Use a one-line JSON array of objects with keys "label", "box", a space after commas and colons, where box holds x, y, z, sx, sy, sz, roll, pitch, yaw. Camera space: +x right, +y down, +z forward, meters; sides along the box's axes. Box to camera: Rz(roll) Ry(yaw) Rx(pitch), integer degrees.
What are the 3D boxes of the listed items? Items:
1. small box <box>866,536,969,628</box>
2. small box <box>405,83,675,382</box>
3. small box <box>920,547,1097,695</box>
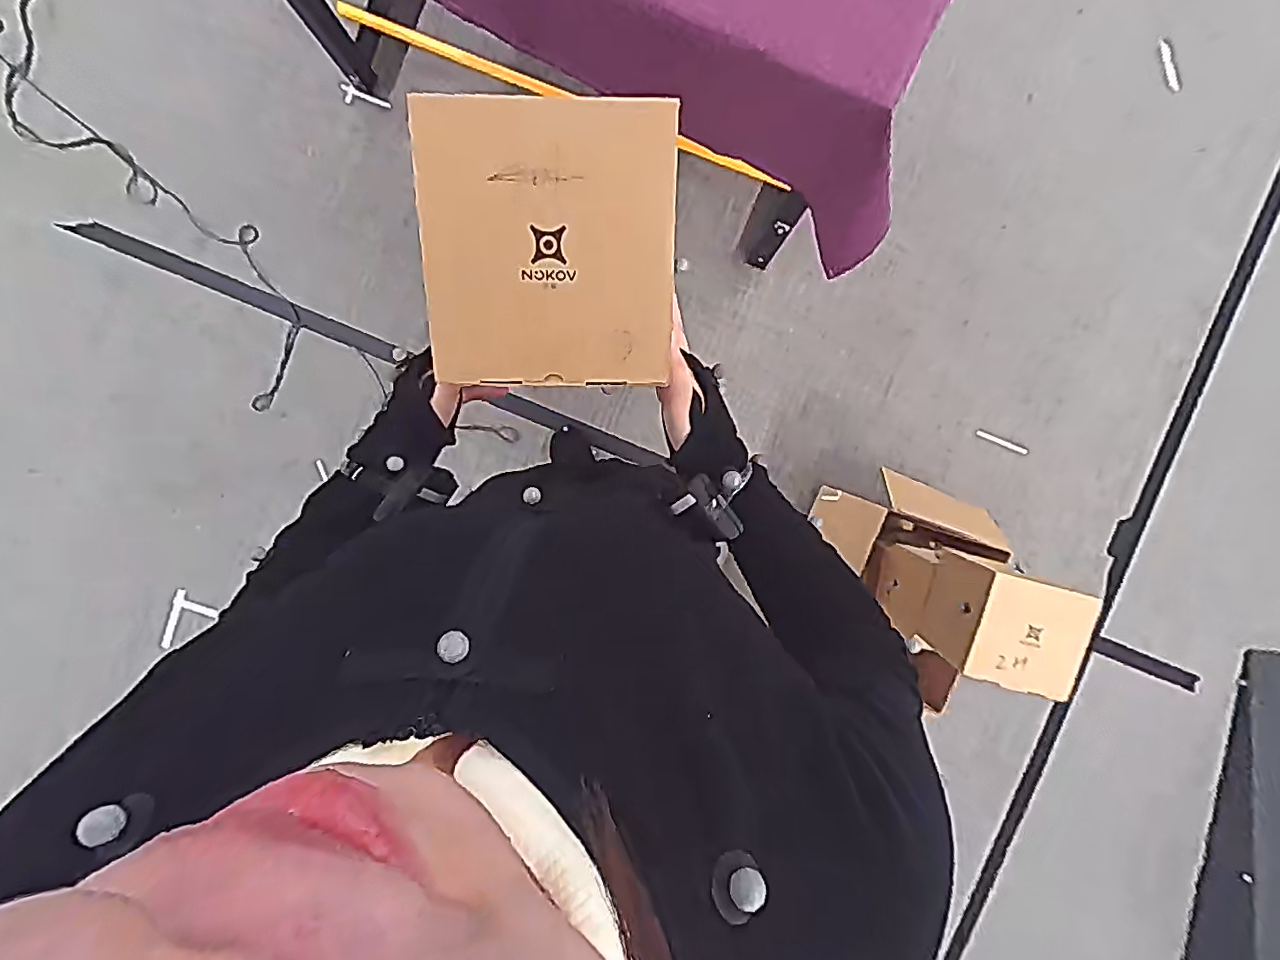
[{"label": "small box", "box": [0.639, 0.230, 1.252, 0.168, 0.176, 0.179, 1, 97, 3]}, {"label": "small box", "box": [-0.063, -0.178, 0.427, 0.168, 0.176, 0.179, 0, 107, -2]}, {"label": "small box", "box": [0.611, 0.228, 0.923, 0.168, 0.176, 0.179, 15, 97, 3]}]
